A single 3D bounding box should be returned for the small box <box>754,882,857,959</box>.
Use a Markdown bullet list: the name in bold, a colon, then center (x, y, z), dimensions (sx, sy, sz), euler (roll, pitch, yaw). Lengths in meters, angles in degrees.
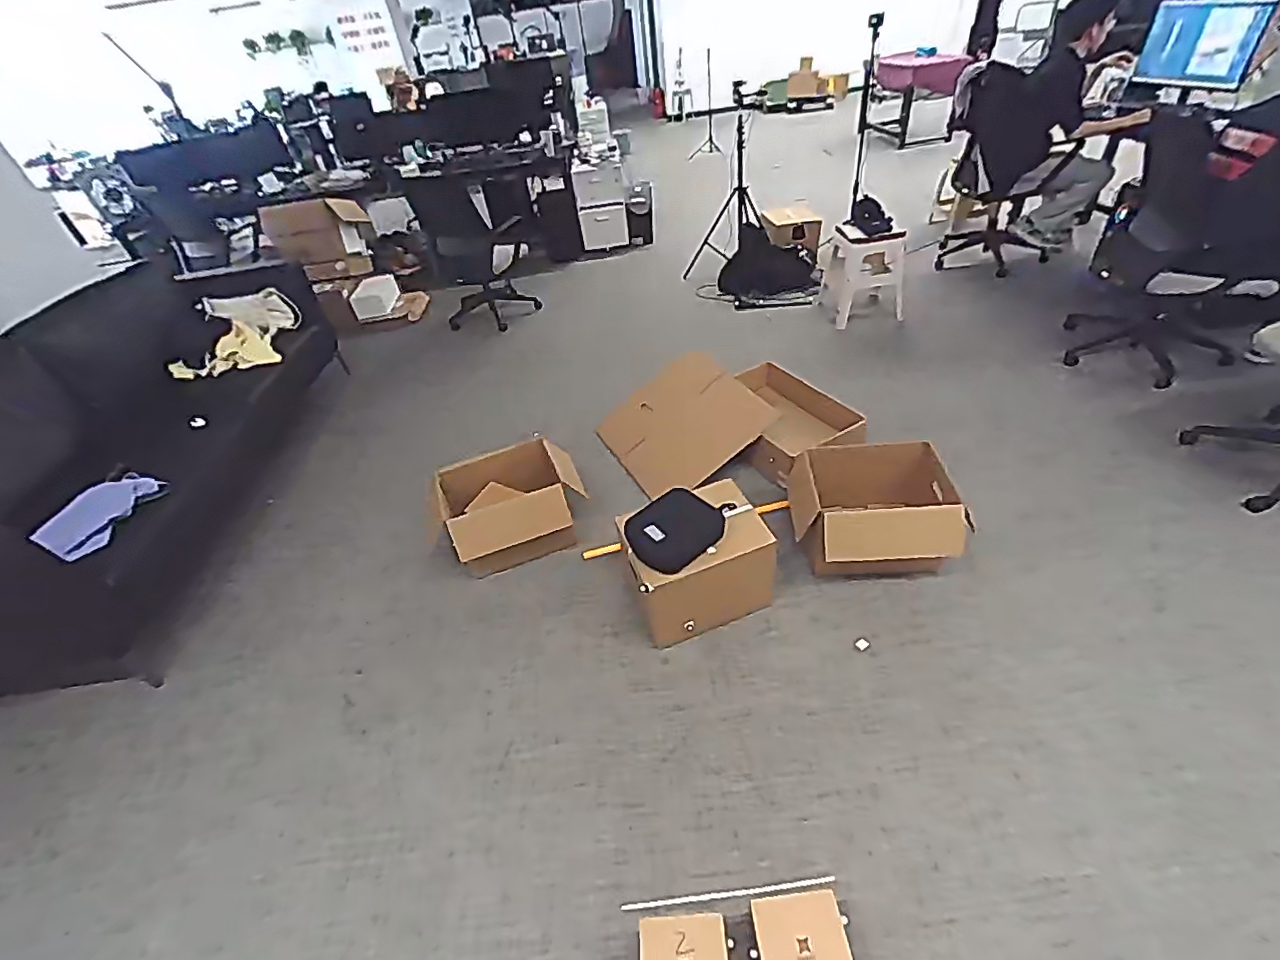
- **small box**: center (0.318, 0.914, 1.047), dimensions (0.168, 0.176, 0.179), euler (-9, 41, 2)
